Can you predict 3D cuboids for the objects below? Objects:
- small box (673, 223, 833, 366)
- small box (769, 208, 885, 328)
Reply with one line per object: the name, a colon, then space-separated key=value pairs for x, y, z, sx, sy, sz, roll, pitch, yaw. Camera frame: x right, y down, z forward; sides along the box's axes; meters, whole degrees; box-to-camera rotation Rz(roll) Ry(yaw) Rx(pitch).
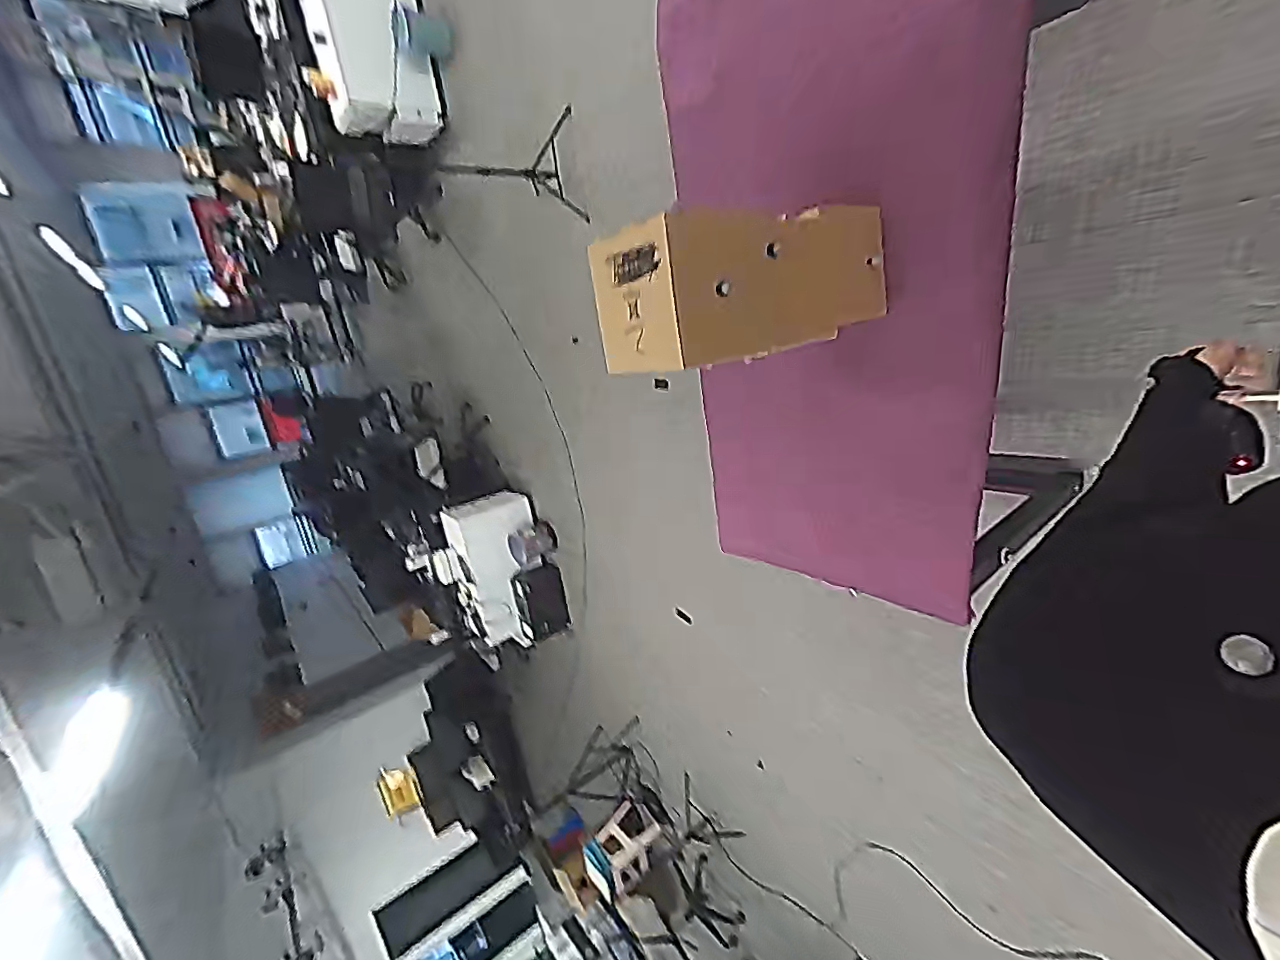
small box: x=0.176 y=-0.281 z=0.830 sx=0.168 sy=0.176 sz=0.179 roll=8 pitch=113 yaw=54
small box: x=0.296 y=-0.346 z=0.922 sx=0.168 sy=0.176 sz=0.179 roll=9 pitch=112 yaw=54
